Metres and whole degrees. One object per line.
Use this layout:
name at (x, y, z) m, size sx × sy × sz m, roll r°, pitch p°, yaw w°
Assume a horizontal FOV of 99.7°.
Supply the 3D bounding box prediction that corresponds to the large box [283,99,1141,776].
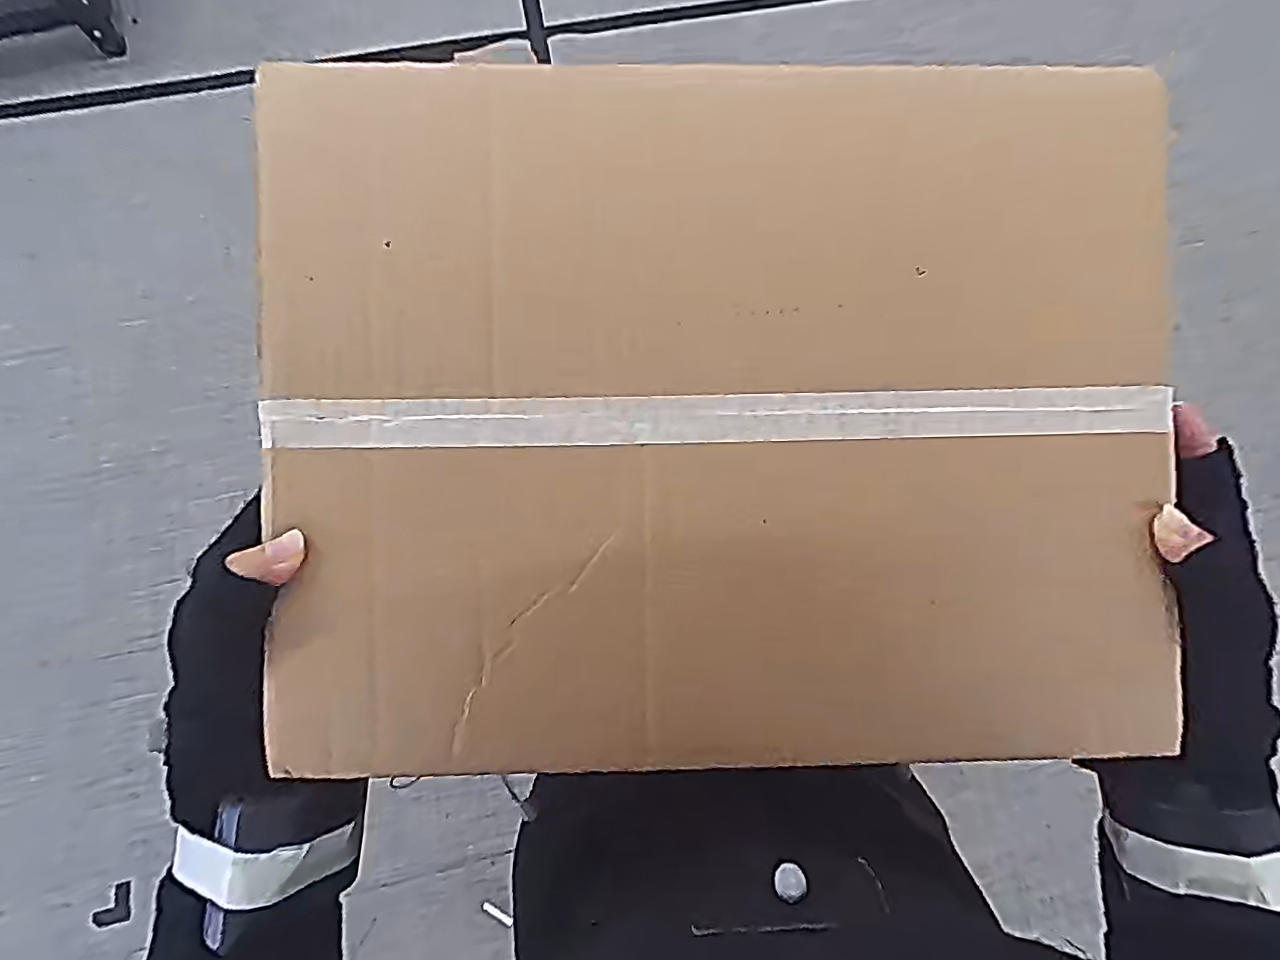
large box at (0.036, -0.023, 0.402) m, size 0.408 × 0.320 × 0.320 m, roll -1°, pitch 89°, yaw -1°
